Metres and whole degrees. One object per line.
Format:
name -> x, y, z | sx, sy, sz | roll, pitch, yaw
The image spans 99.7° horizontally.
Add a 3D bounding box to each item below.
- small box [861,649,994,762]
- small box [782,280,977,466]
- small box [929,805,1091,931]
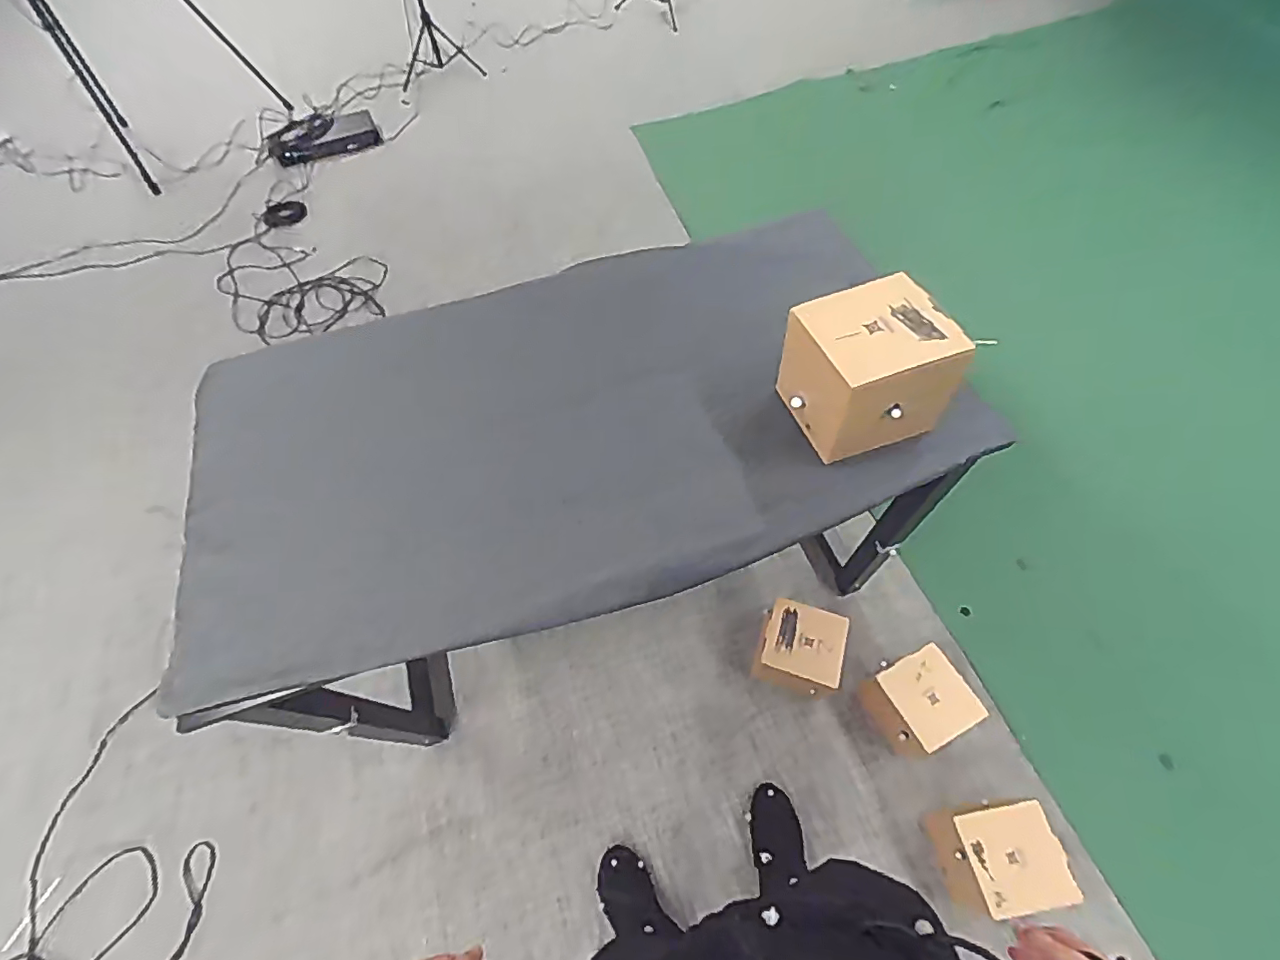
small box -> 0.635, 0.511, 1.218 | 0.168, 0.176, 0.179 | -25, 62, -10
small box -> 0.322, -0.147, 0.773 | 0.179, 0.176, 0.168 | -18, 56, -4
small box -> 0.717, 0.756, 1.072 | 0.179, 0.176, 0.168 | -10, 61, -1
